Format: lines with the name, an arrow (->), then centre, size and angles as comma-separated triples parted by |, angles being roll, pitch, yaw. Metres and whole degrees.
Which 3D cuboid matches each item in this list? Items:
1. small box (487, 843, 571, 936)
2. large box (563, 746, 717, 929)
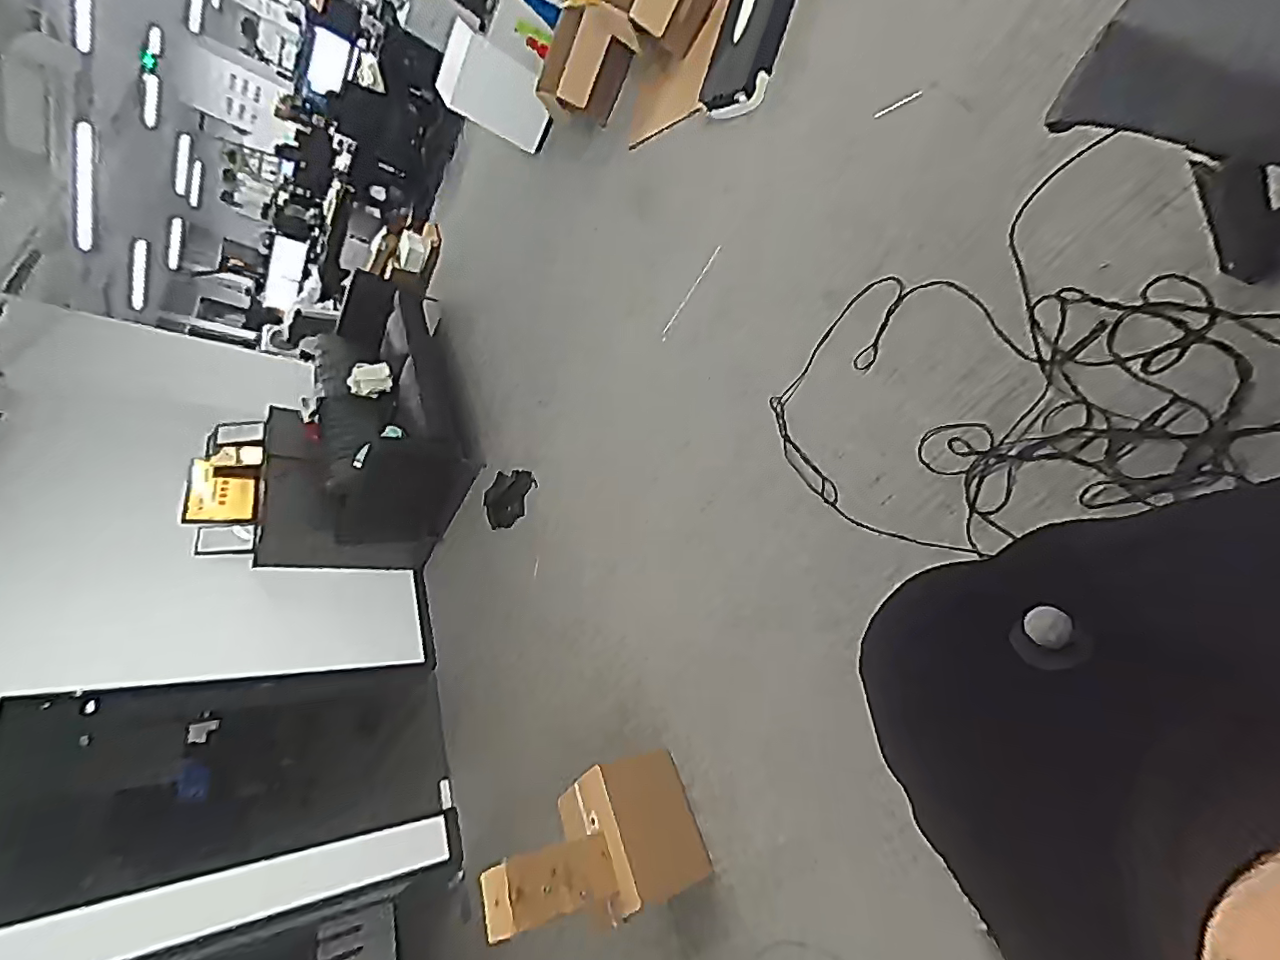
small box -> -0.322, 1.175, 1.556 | 0.179, 0.176, 0.168 | -48, 48, 35
large box -> -0.011, 1.184, 1.824 | 0.320, 0.320, 0.408 | -52, 45, 30
